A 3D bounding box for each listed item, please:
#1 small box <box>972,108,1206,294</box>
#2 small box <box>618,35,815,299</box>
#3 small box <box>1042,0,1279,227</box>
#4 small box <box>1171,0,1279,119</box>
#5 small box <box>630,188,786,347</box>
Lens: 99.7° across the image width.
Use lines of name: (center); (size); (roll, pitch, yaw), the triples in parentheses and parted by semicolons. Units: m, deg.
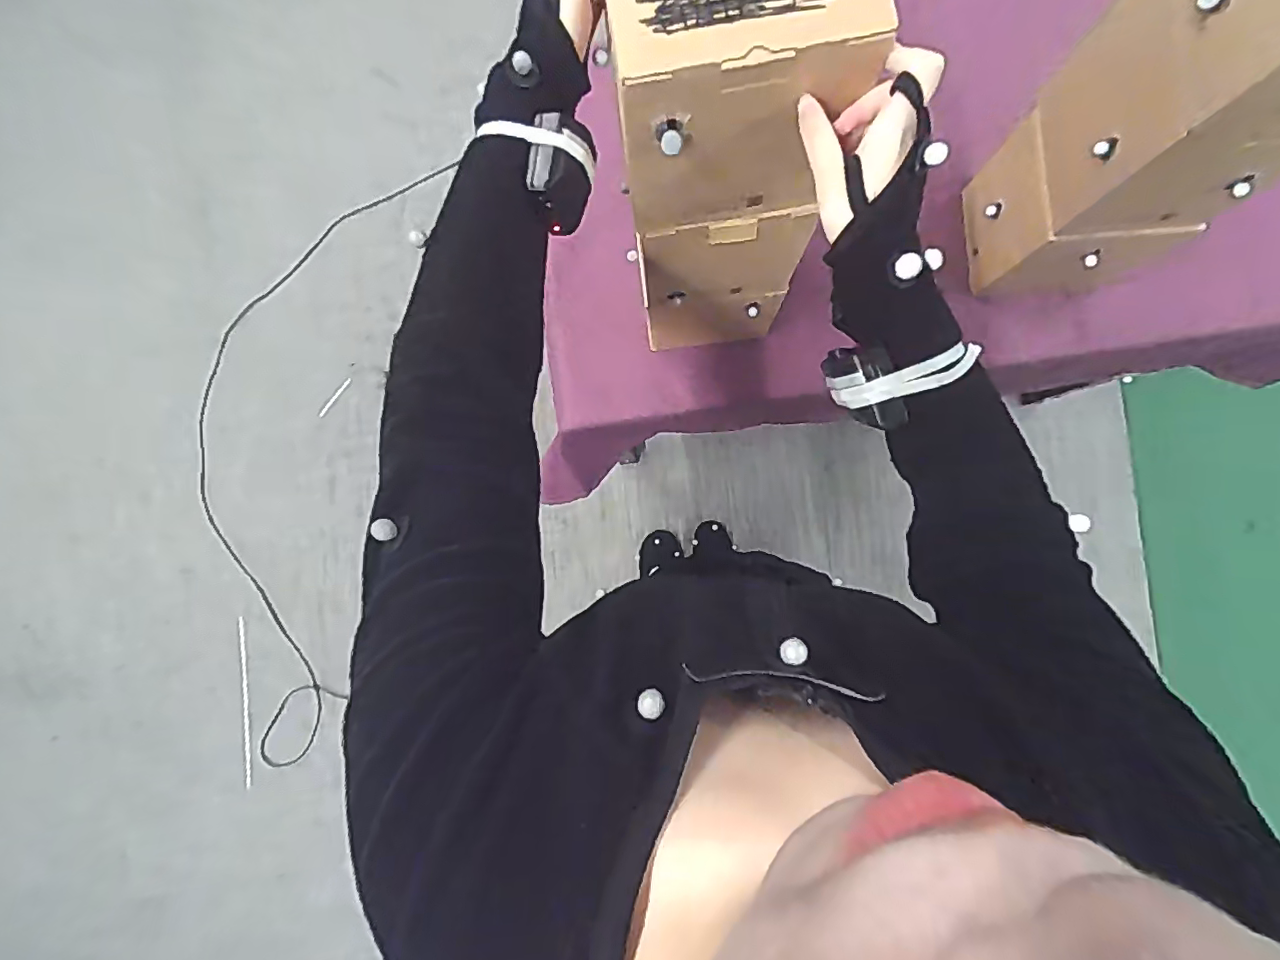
small box: (0.560, -0.354, 0.705); (0.179, 0.176, 0.168); (-2, 86, 4)
small box: (0.074, -0.308, 0.573); (0.168, 0.176, 0.179); (-7, 84, 3)
small box: (0.547, -0.376, 0.544); (0.168, 0.176, 0.179); (-2, 85, 4)
small box: (0.532, -0.388, 0.380); (0.168, 0.176, 0.179); (-3, 86, 3)
small box: (0.087, -0.291, 0.737); (0.179, 0.176, 0.168); (-6, 85, 3)
